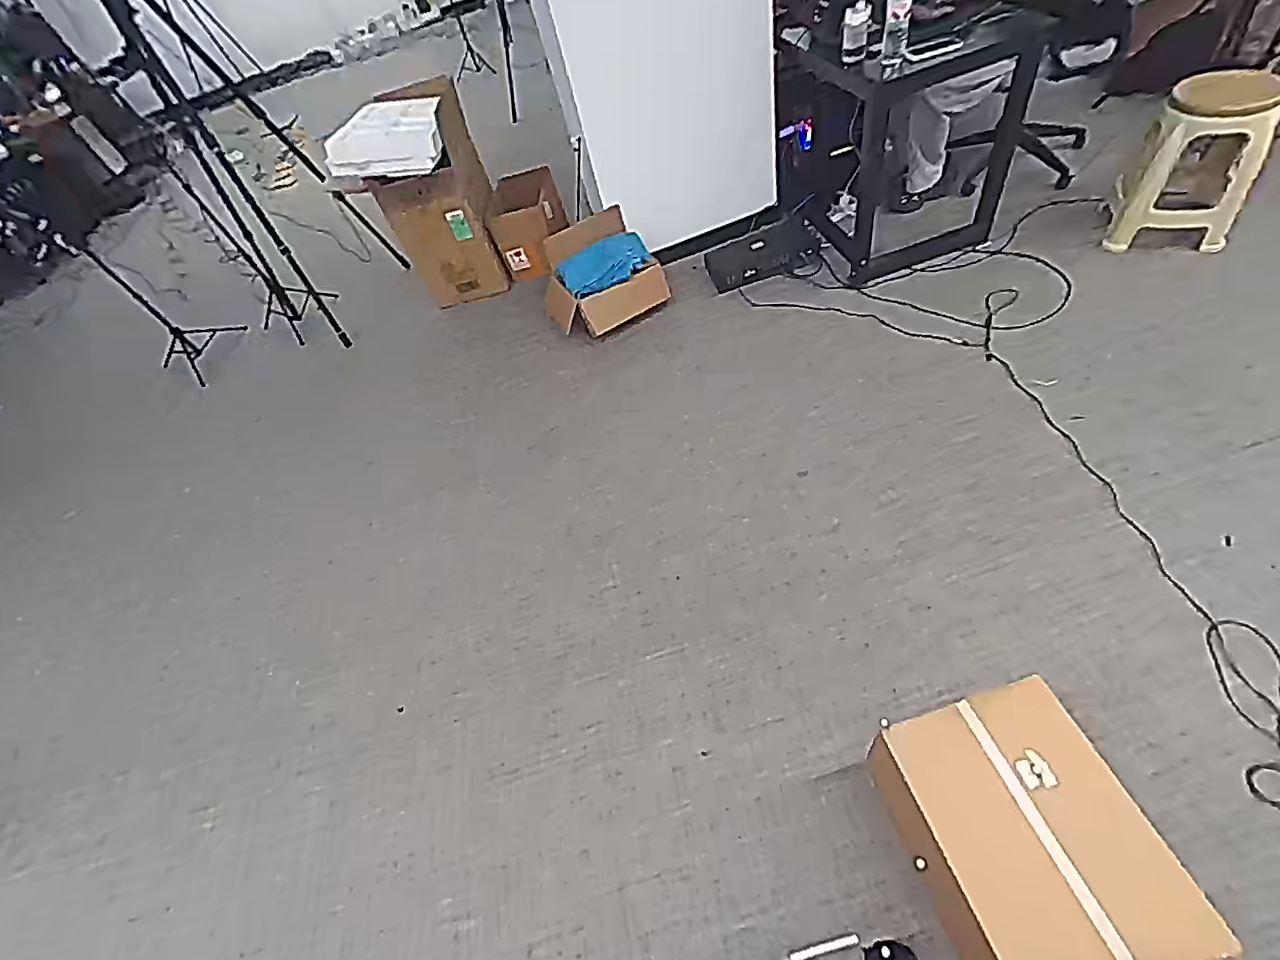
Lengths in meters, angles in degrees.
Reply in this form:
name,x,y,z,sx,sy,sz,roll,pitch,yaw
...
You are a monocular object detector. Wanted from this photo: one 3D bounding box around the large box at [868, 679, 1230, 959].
name,x,y,z,sx,sy,sz,roll,pitch,yaw
large box,0.679,0.656,1.004,0.320,0.320,0.408,-19,49,0
